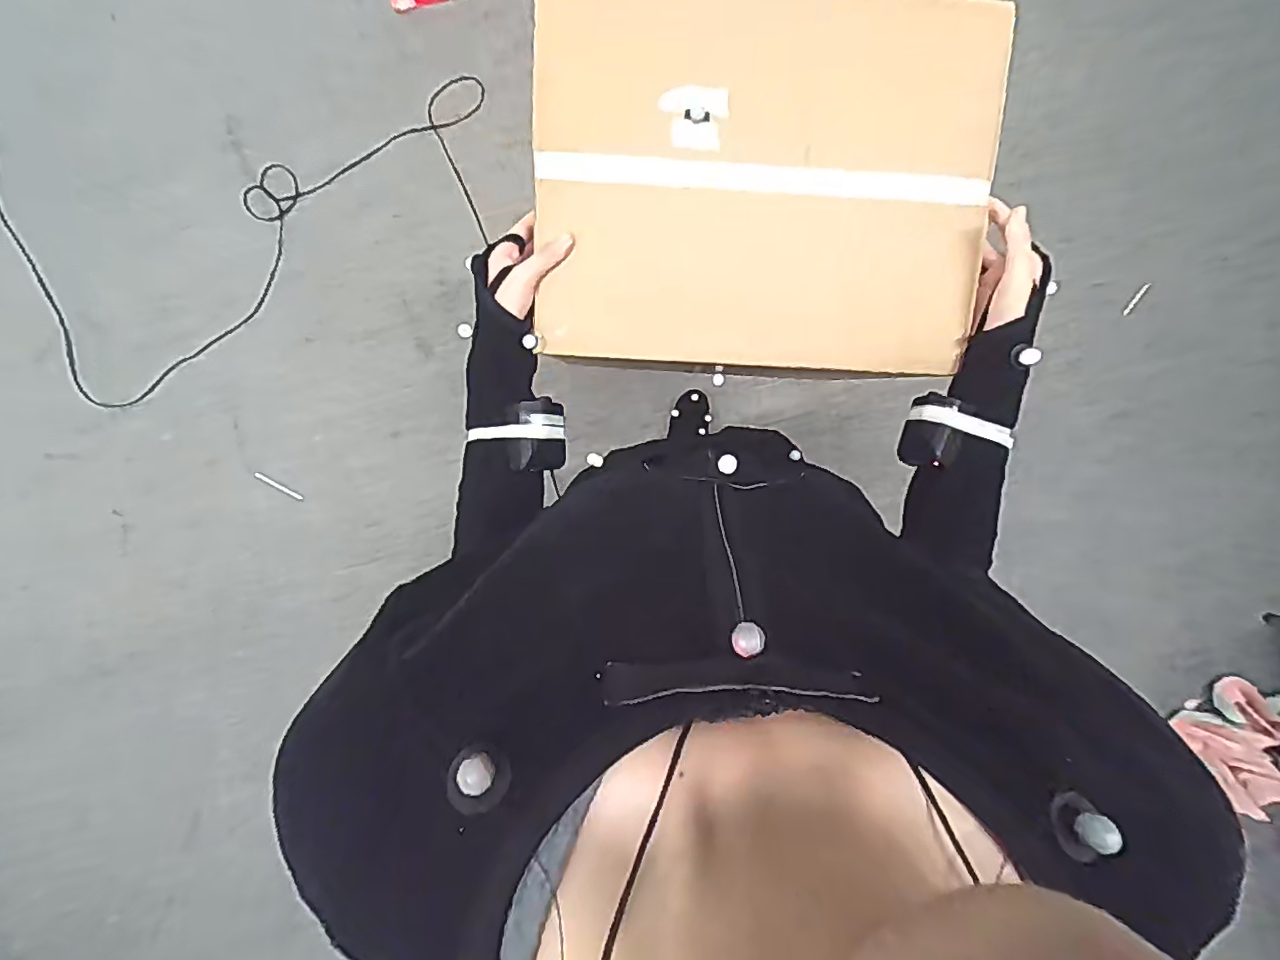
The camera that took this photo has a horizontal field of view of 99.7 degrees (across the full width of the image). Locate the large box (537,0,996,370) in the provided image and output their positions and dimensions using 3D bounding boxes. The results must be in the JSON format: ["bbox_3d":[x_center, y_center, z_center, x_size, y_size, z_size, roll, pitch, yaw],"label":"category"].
[{"bbox_3d":[0.105,-0.293,0.636,0.408,0.320,0.320,3,100,-2],"label":"large box"}]
